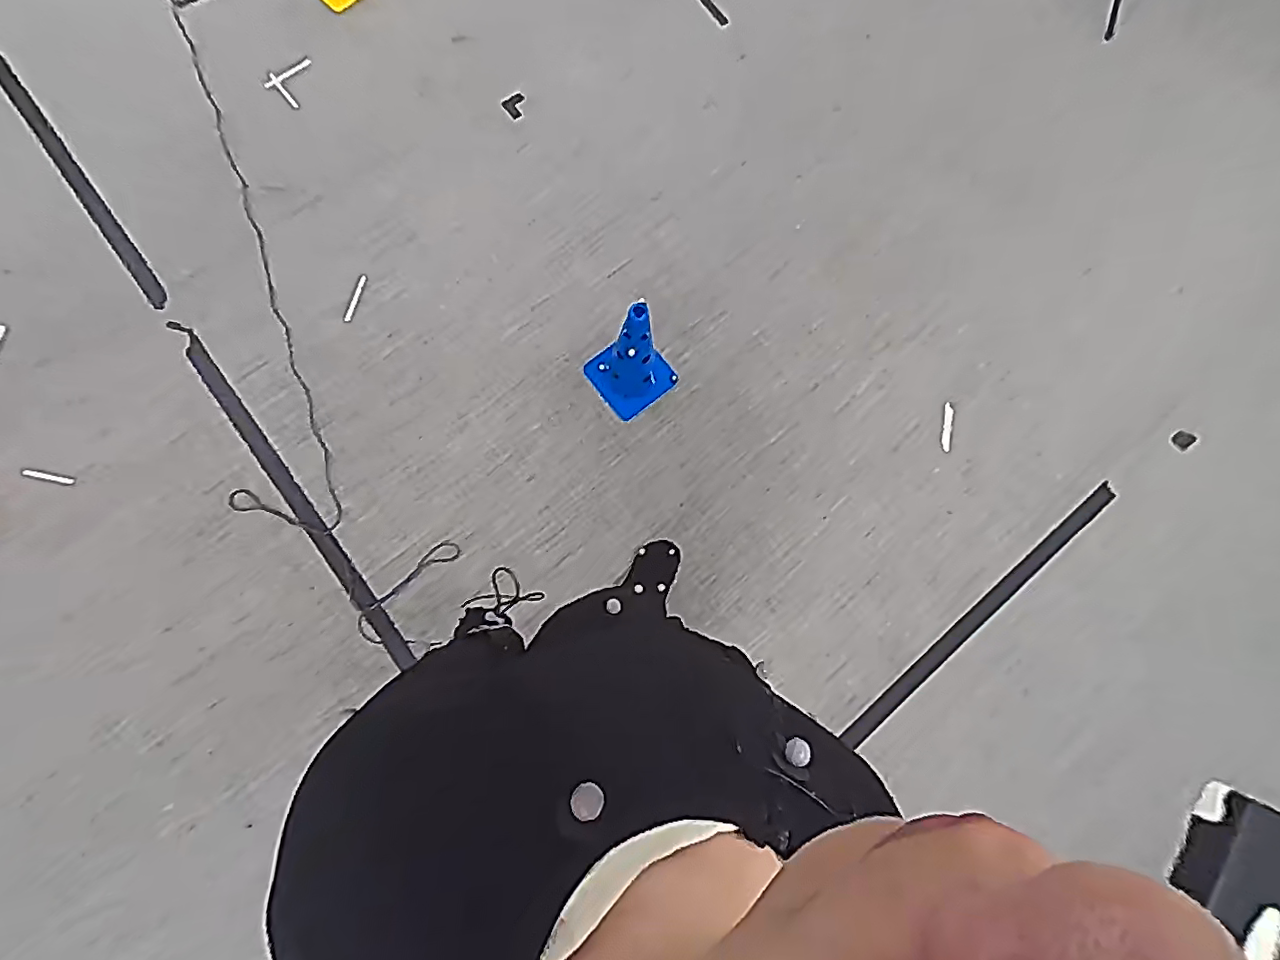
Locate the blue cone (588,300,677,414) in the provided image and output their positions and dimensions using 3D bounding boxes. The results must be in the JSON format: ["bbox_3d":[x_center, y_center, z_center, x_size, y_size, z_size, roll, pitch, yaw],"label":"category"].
[{"bbox_3d":[-0.010,-0.317,1.298,0.192,0.380,0.193,-37,84,-10],"label":"blue cone"}]
